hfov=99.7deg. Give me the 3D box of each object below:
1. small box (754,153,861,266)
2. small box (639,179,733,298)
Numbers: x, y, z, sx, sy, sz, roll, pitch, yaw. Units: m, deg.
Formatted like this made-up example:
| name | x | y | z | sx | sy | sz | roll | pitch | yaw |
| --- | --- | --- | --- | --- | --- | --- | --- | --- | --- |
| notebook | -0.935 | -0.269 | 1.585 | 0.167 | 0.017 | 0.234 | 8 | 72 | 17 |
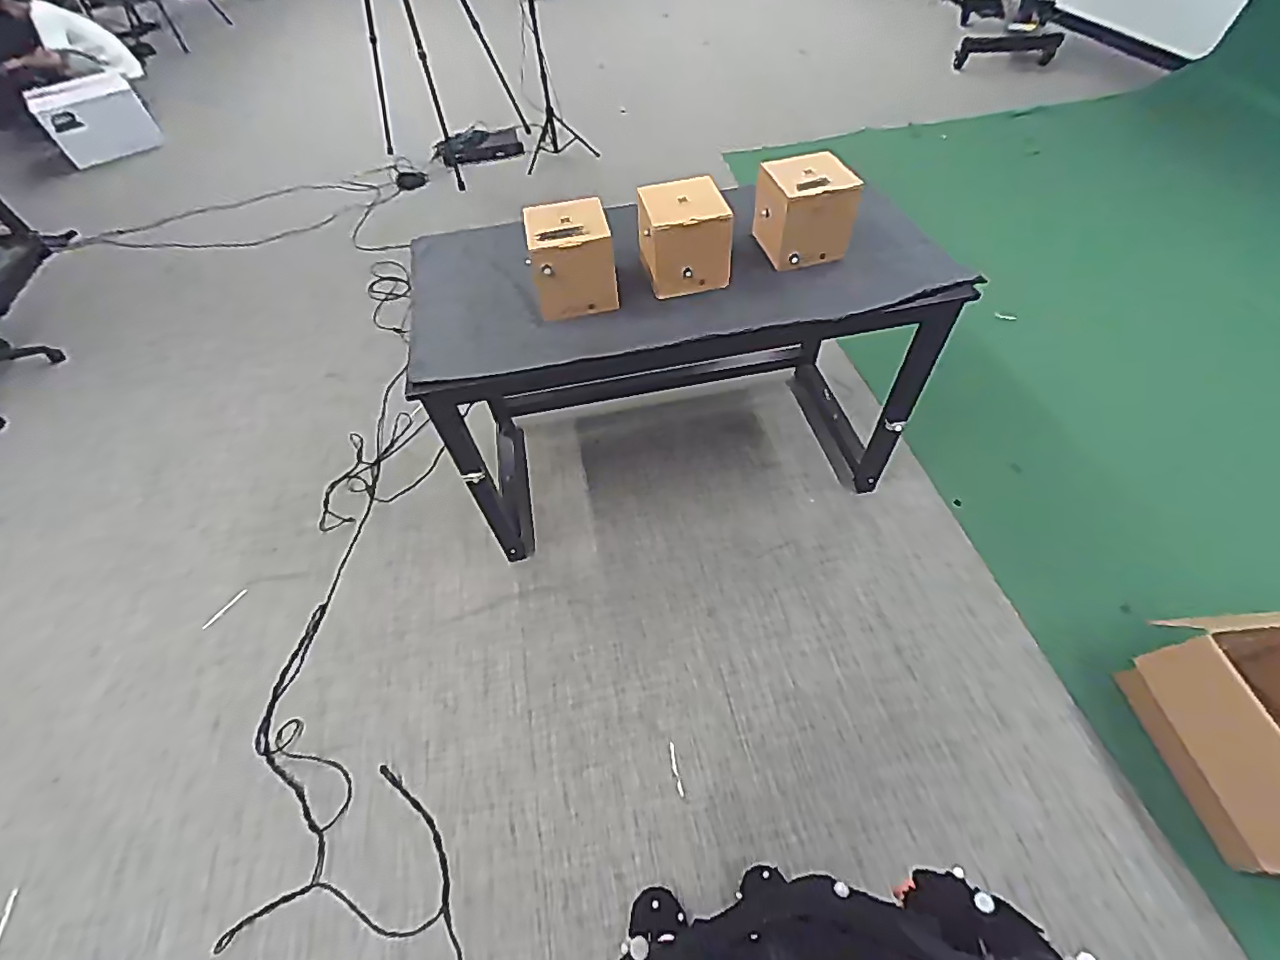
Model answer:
| name | x | y | z | sx | sy | sz | roll | pitch | yaw |
| --- | --- | --- | --- | --- | --- | --- | --- | --- | --- |
| small box | 0.368 | -0.603 | 1.222 | 0.168 | 0.176 | 0.179 | -12 | 53 | -4 |
| small box | 0.096 | -0.530 | 1.194 | 0.168 | 0.176 | 0.179 | -12 | 54 | -5 |
